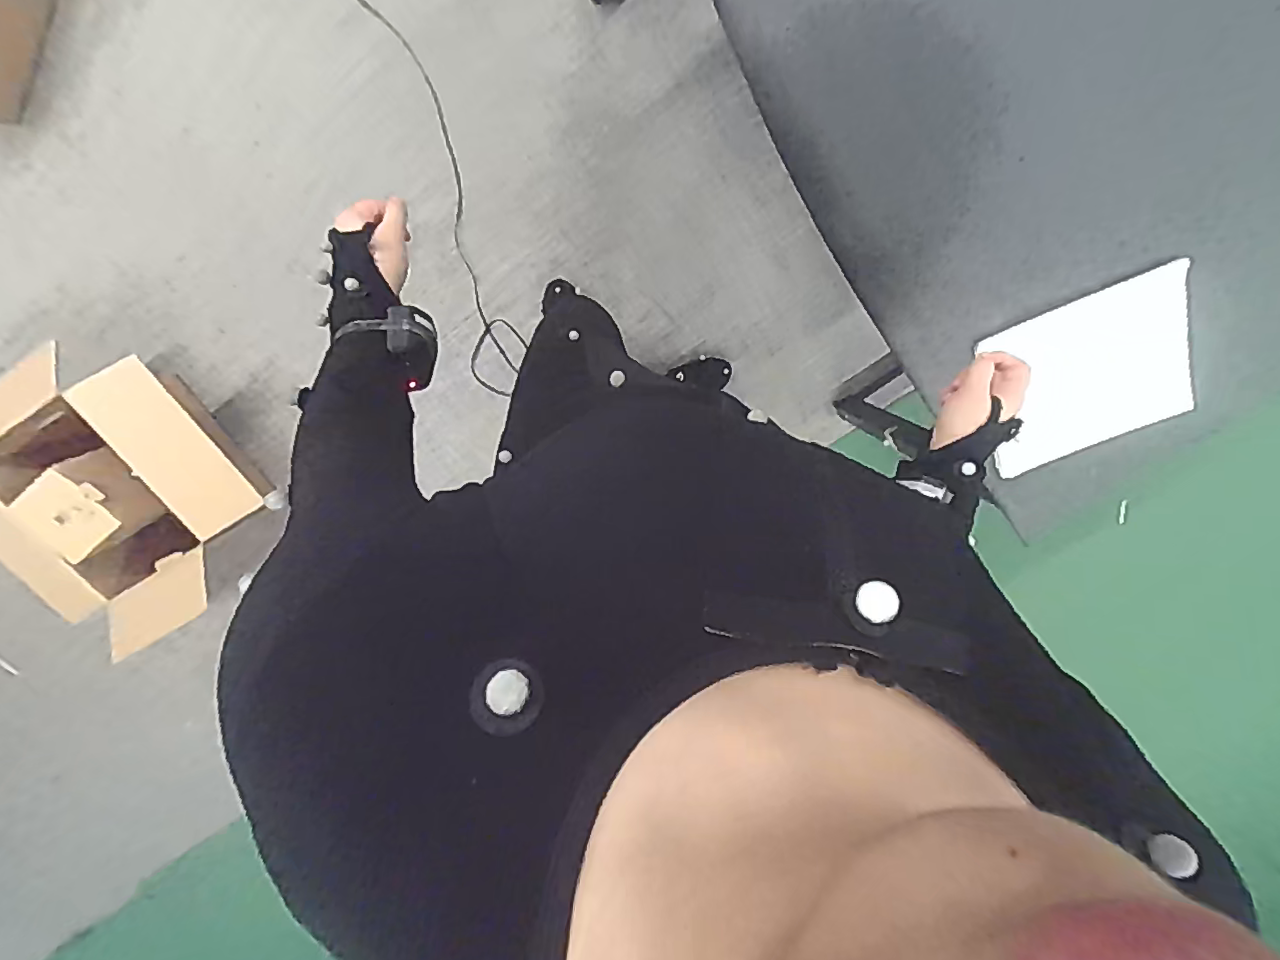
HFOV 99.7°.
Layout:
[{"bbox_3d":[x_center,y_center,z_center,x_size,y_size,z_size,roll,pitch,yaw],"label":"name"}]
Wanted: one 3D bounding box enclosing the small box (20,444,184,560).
[{"bbox_3d":[-1.213,0.045,1.236,0.179,0.176,0.168,-35,108,11],"label":"small box"}]
